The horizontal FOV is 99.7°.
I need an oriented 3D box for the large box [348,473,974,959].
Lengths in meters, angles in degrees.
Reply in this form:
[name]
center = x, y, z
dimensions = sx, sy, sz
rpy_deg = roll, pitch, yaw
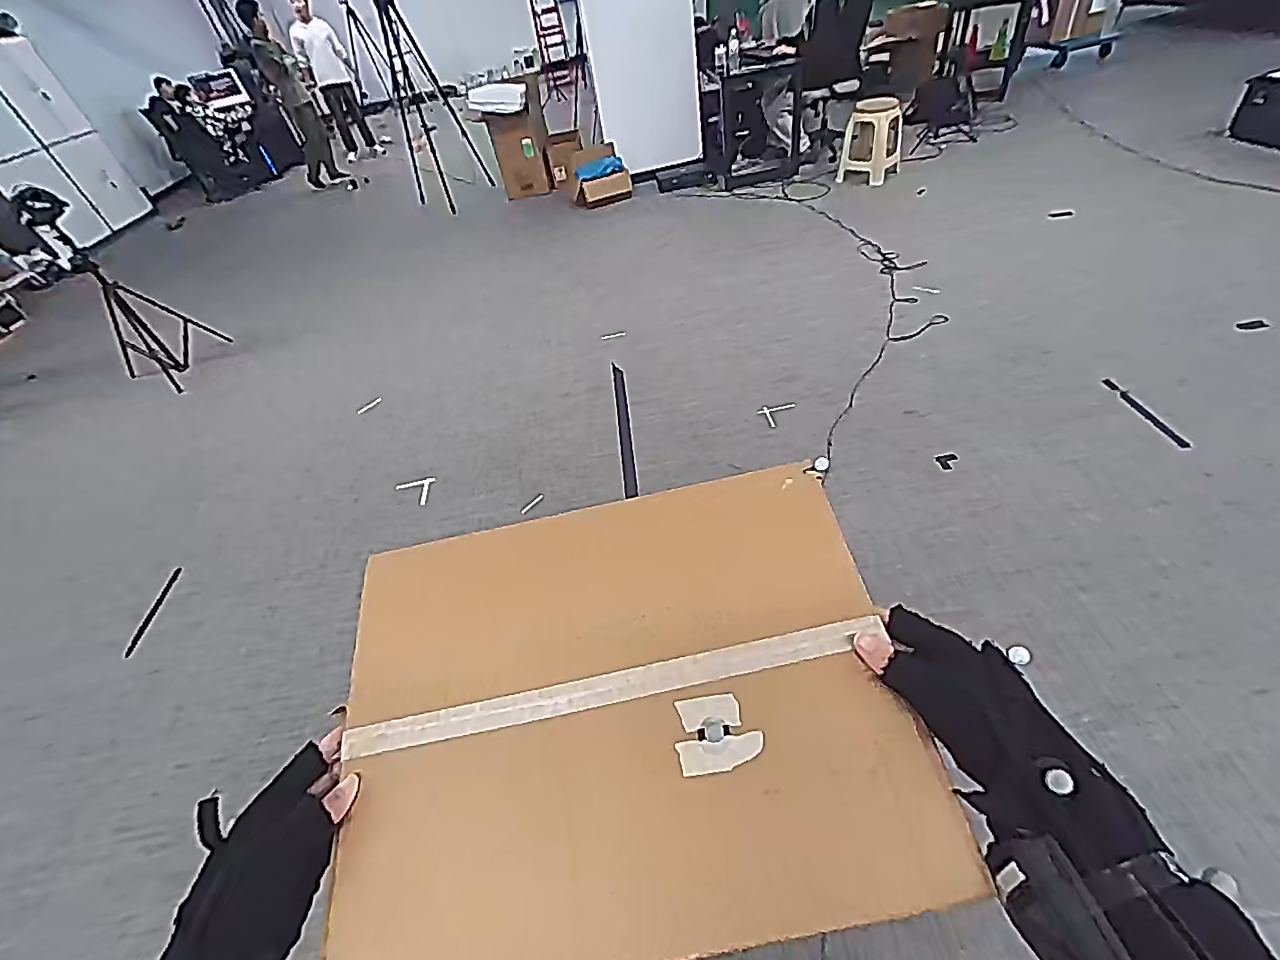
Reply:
[large box]
center = 0.003, 0.241, 0.533
dimensions = 0.408, 0.320, 0.320
rpy_deg = -12, 57, 0
